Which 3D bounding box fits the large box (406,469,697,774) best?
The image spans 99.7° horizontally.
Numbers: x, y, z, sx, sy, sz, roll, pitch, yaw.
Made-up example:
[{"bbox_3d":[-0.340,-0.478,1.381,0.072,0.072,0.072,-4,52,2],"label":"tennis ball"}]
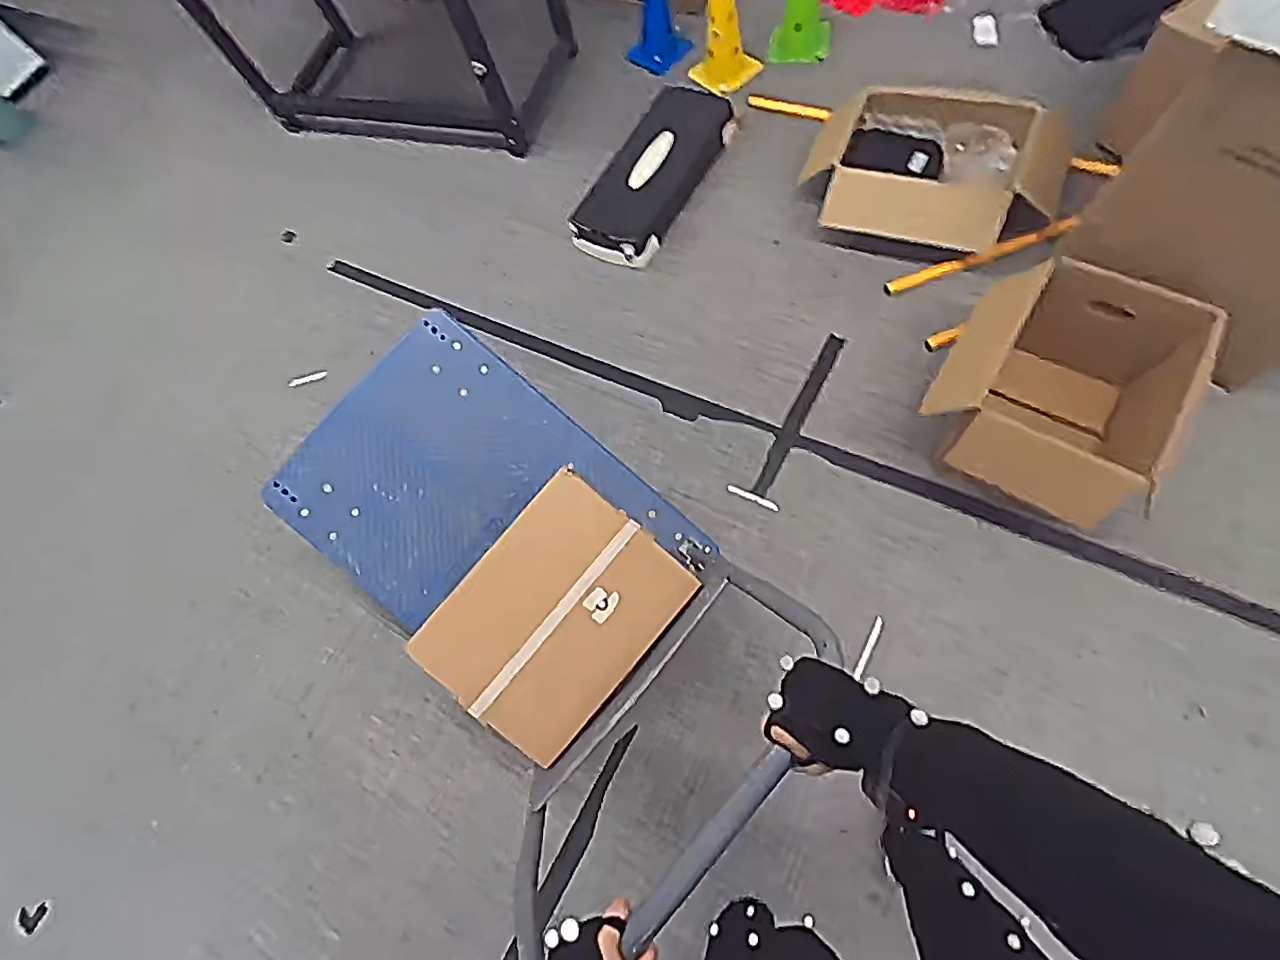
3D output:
[{"bbox_3d":[-0.151,0.241,1.036,0.320,0.320,0.408,40,84,-1],"label":"large box"}]
